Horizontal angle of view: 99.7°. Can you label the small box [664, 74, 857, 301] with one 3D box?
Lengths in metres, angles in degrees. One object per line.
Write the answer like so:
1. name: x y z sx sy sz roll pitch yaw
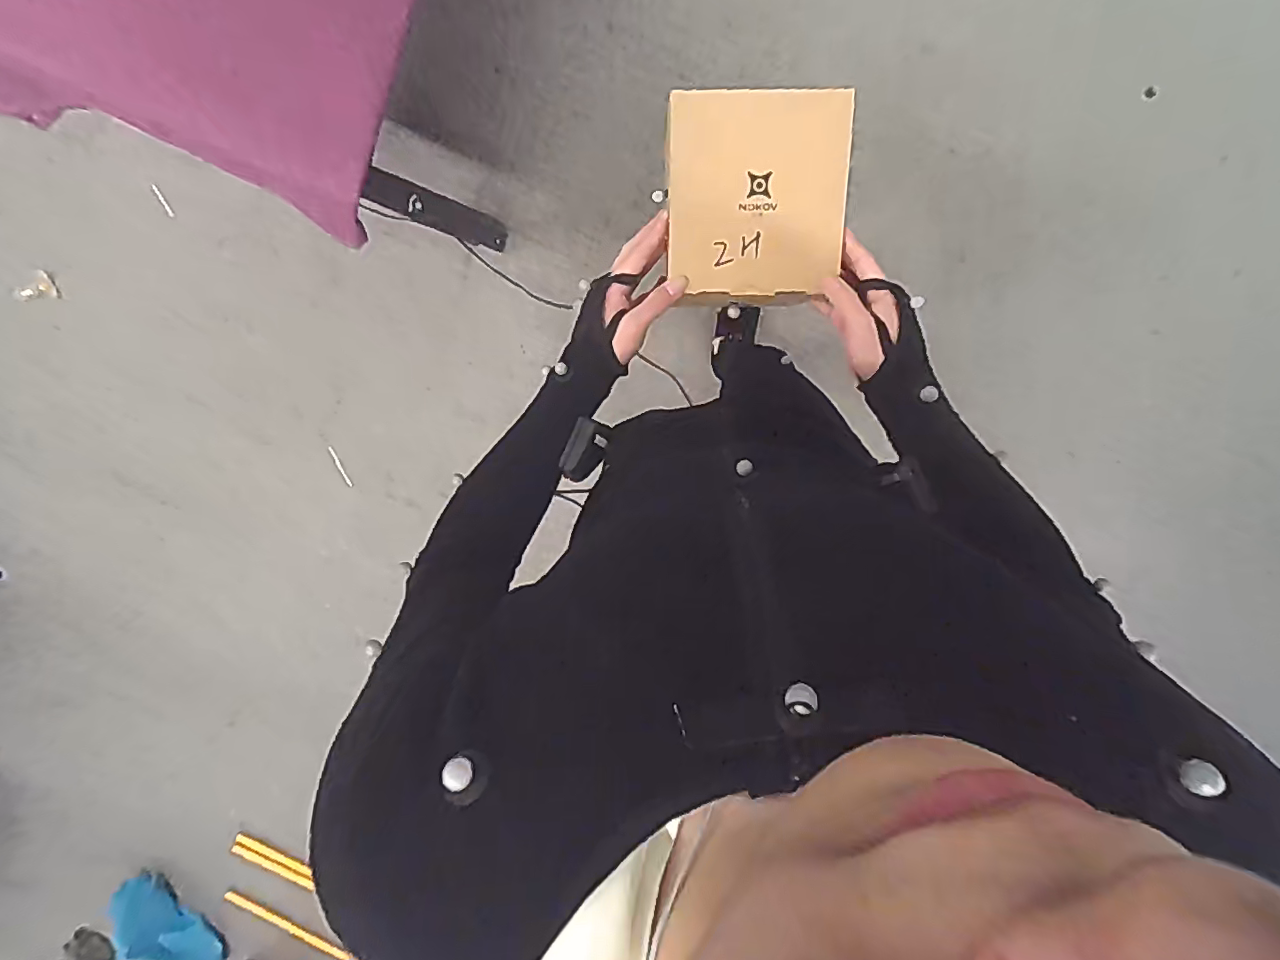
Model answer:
1. small box: 0.111 -0.291 0.573 0.168 0.176 0.179 1 104 1
